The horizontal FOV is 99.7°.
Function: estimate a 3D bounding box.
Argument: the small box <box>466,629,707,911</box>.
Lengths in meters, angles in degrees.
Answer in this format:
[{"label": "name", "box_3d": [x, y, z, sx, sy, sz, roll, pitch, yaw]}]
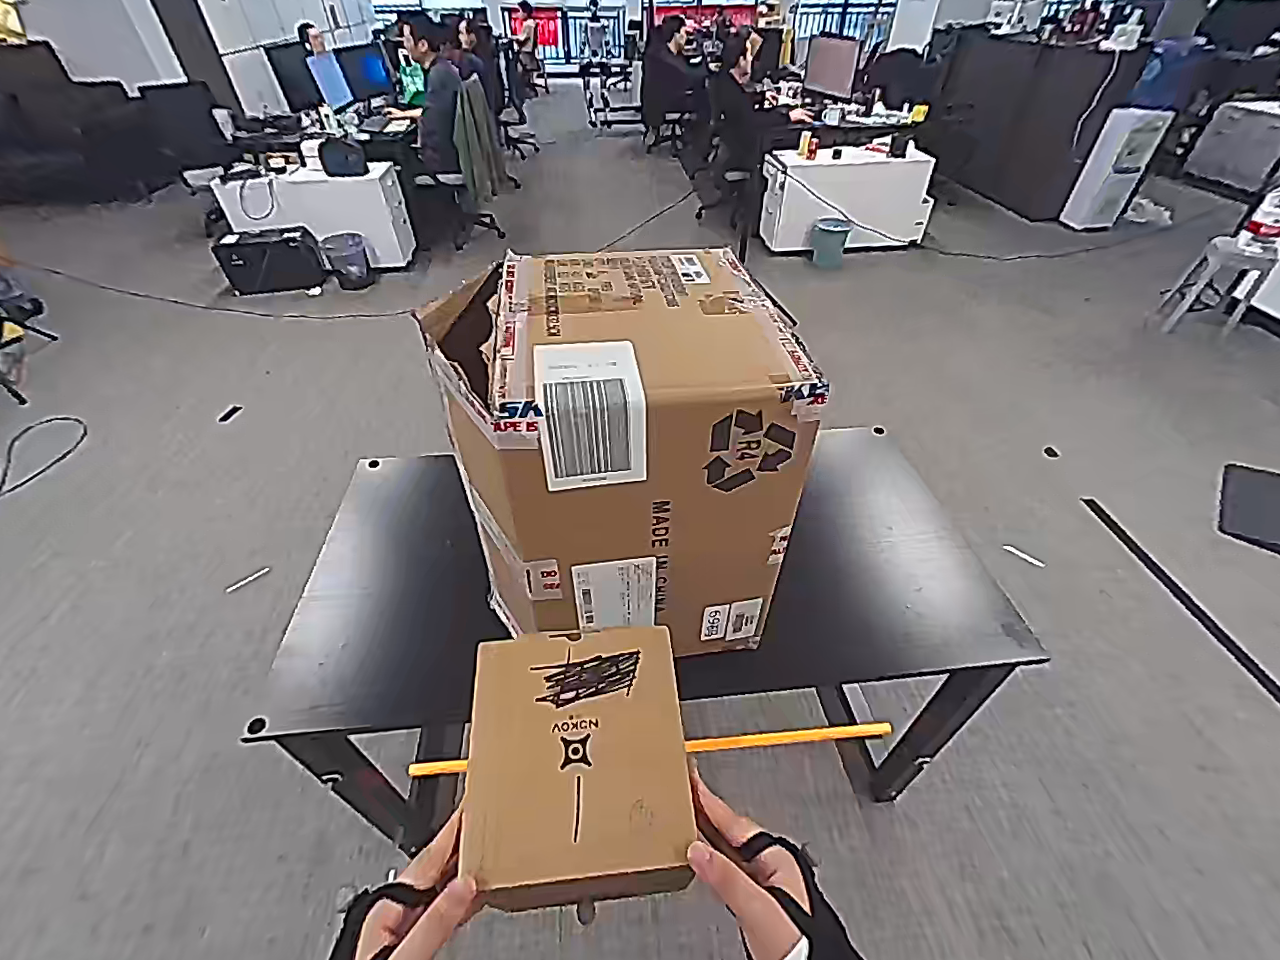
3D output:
[{"label": "small box", "box_3d": [-0.042, 0.255, 0.476, 0.168, 0.176, 0.179, -5, 48, -3]}]
